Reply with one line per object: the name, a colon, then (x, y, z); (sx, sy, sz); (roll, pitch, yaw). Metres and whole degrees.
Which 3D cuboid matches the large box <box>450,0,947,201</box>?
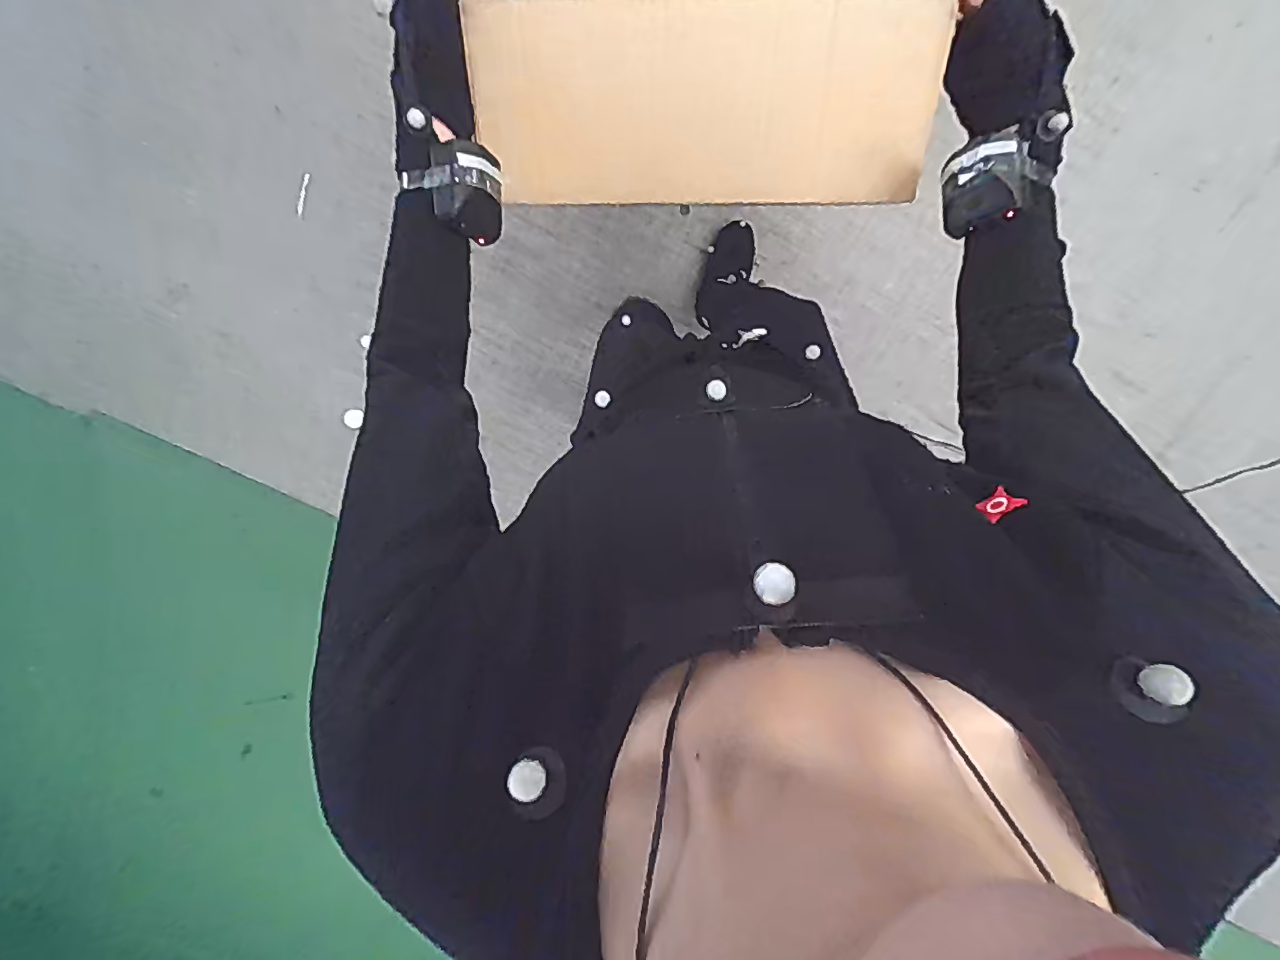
large box: (0.048, -0.471, 0.548); (0.408, 0.320, 0.320); (0, 119, 1)
